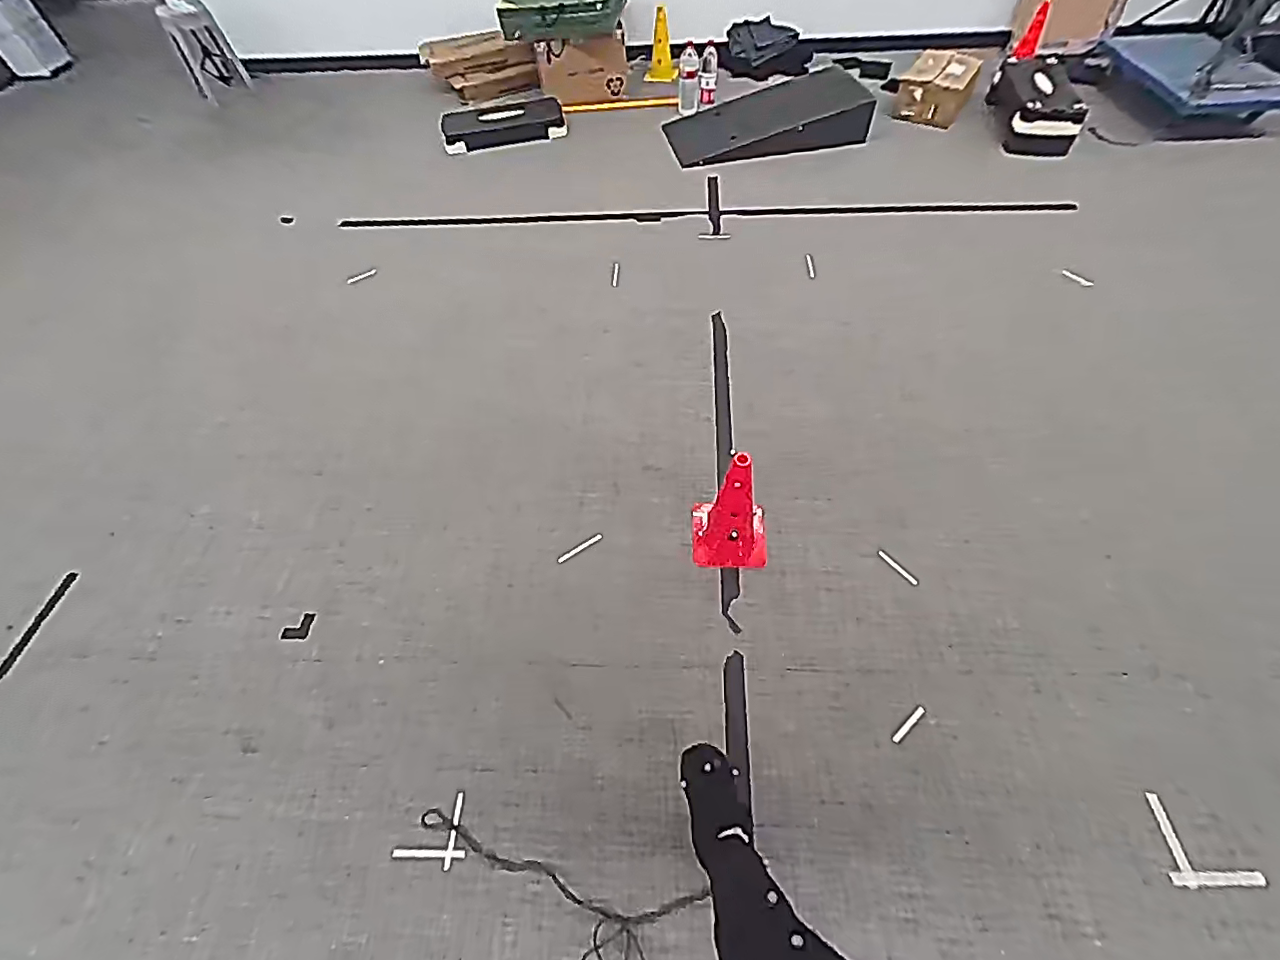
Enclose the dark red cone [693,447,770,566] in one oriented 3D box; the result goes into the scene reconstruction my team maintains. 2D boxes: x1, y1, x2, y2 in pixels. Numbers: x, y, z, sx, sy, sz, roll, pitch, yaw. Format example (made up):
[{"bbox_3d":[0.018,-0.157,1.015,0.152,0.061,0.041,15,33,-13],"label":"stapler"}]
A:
[{"bbox_3d":[0.238,0.049,1.349,0.201,0.394,0.202,0,55,4],"label":"dark red cone"}]
